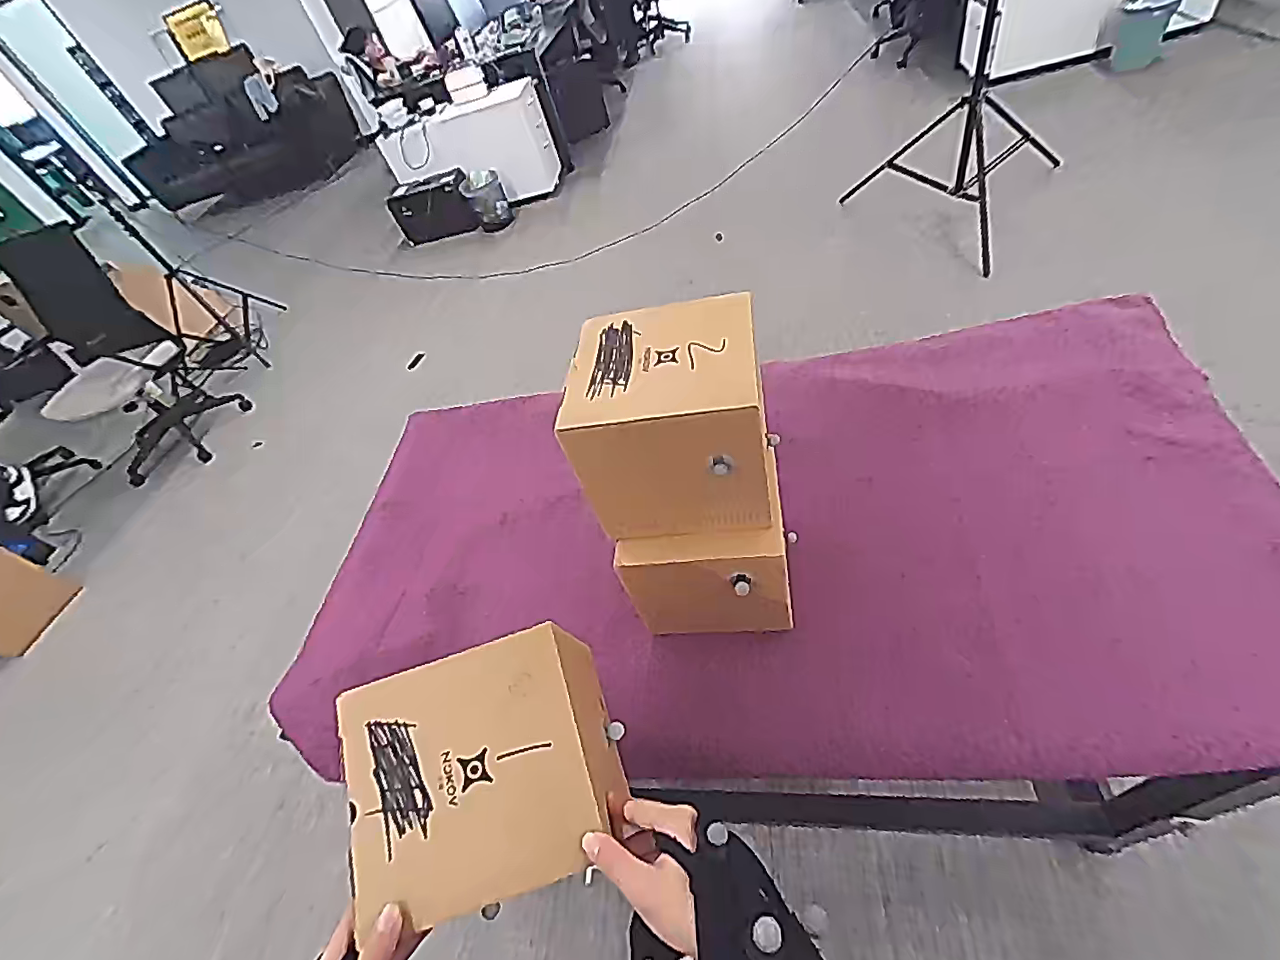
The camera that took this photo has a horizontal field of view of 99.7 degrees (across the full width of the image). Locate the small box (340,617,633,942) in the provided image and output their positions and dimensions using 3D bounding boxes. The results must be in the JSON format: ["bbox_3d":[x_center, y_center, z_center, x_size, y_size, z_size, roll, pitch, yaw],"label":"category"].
[{"bbox_3d":[-0.116,0.235,0.454,0.179,0.176,0.168,-18,65,-4],"label":"small box"}]

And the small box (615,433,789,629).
[{"bbox_3d":[0.083,0.067,0.649,0.179,0.176,0.168,-6,48,14],"label":"small box"}]
